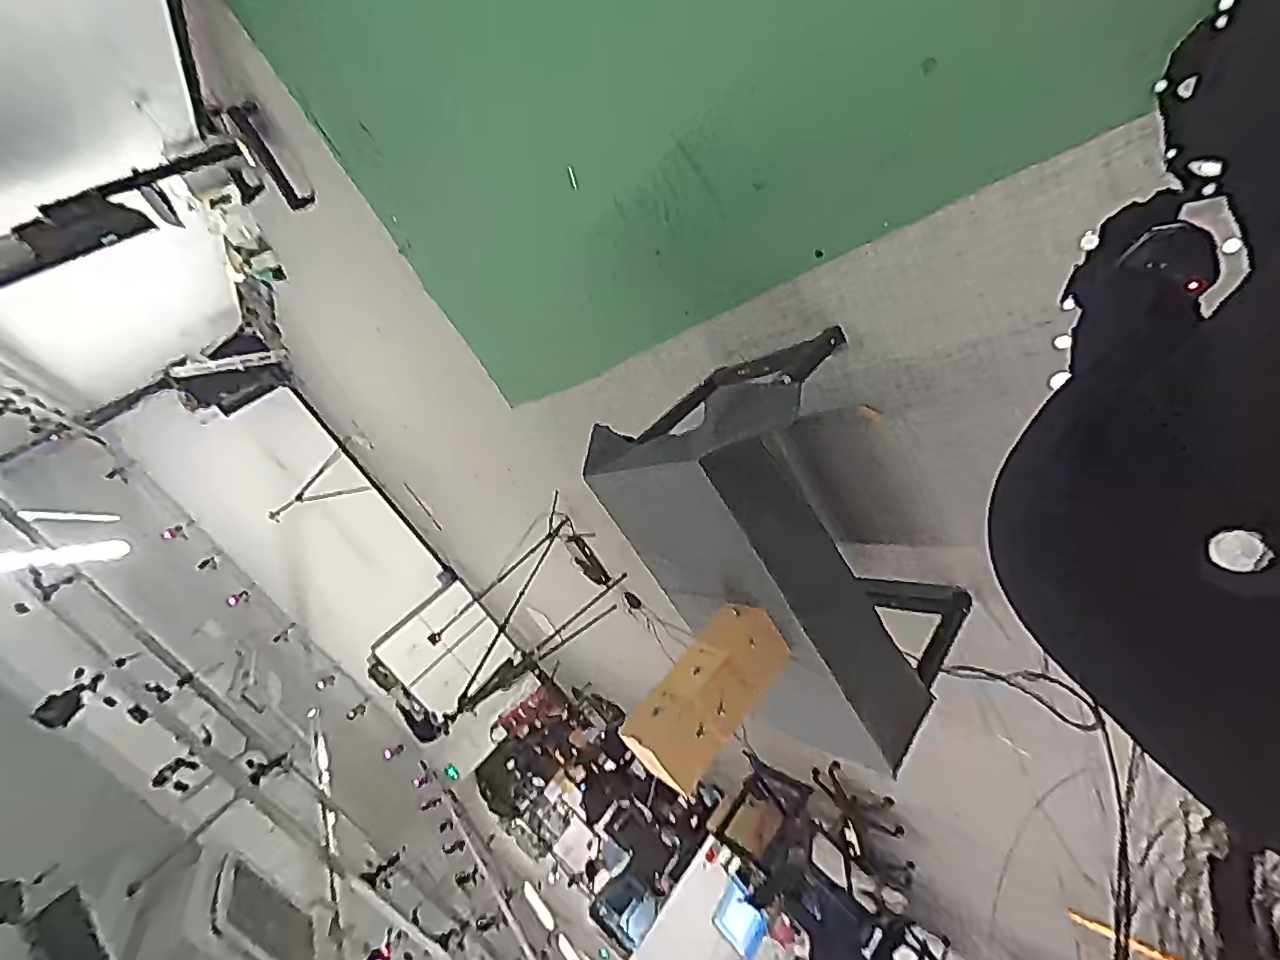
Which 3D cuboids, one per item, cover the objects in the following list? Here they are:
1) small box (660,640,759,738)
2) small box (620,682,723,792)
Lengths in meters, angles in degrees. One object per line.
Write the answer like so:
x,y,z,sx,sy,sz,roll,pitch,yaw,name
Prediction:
0.195,0.573,1.510,0.179,0.176,0.168,56,151,-15,small box
0.086,0.673,1.438,0.168,0.176,0.179,-5,122,56,small box
